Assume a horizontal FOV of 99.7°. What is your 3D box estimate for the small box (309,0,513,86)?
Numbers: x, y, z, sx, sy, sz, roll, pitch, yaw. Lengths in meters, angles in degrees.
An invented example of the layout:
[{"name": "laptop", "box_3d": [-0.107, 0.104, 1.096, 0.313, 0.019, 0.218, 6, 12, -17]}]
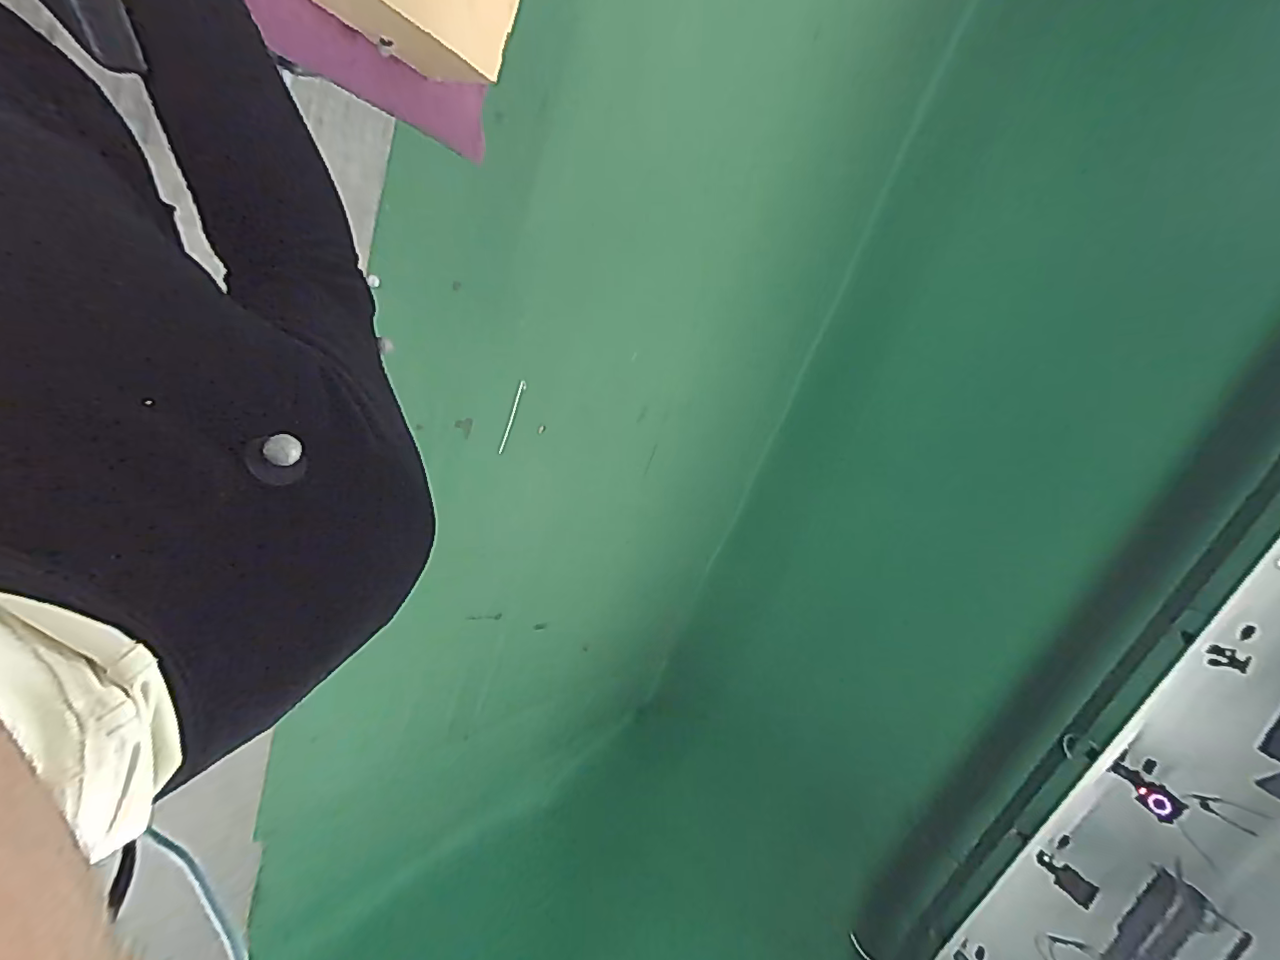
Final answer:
[{"name": "small box", "box_3d": [-0.273, -0.617, 0.650, 0.179, 0.176, 0.168, 2, 114, -54]}]
